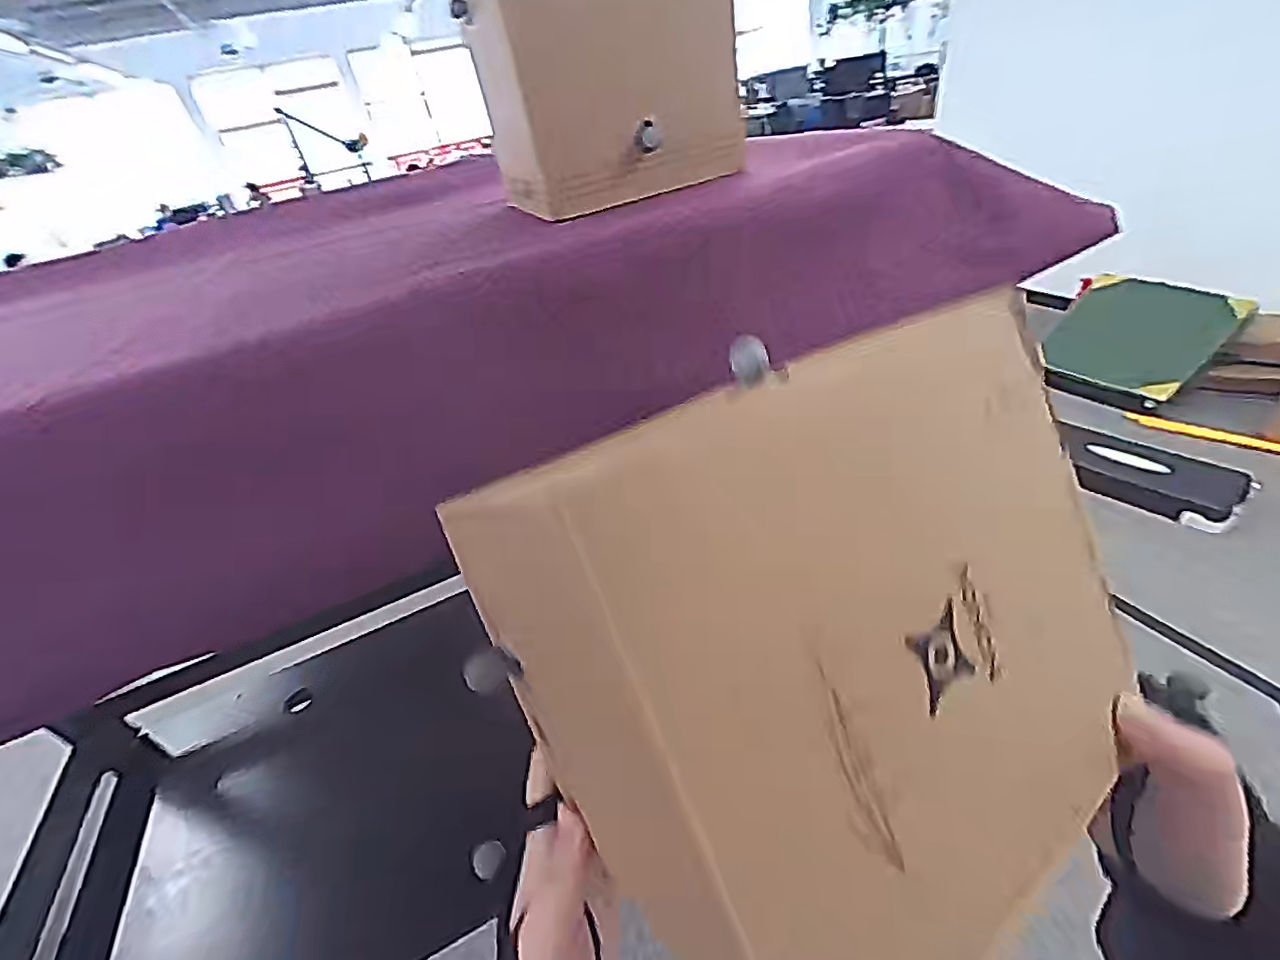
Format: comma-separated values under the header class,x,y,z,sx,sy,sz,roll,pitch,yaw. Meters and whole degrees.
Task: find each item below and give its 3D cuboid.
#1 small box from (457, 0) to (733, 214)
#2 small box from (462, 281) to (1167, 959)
class,x,y,z,sx,sy,sz,roll,pitch,yaw
small box,-0.036,-0.336,0.445,0.179,0.176,0.168,-22,36,-13
small box,0.052,0.046,0.215,0.179,0.168,0.176,-24,7,-27
